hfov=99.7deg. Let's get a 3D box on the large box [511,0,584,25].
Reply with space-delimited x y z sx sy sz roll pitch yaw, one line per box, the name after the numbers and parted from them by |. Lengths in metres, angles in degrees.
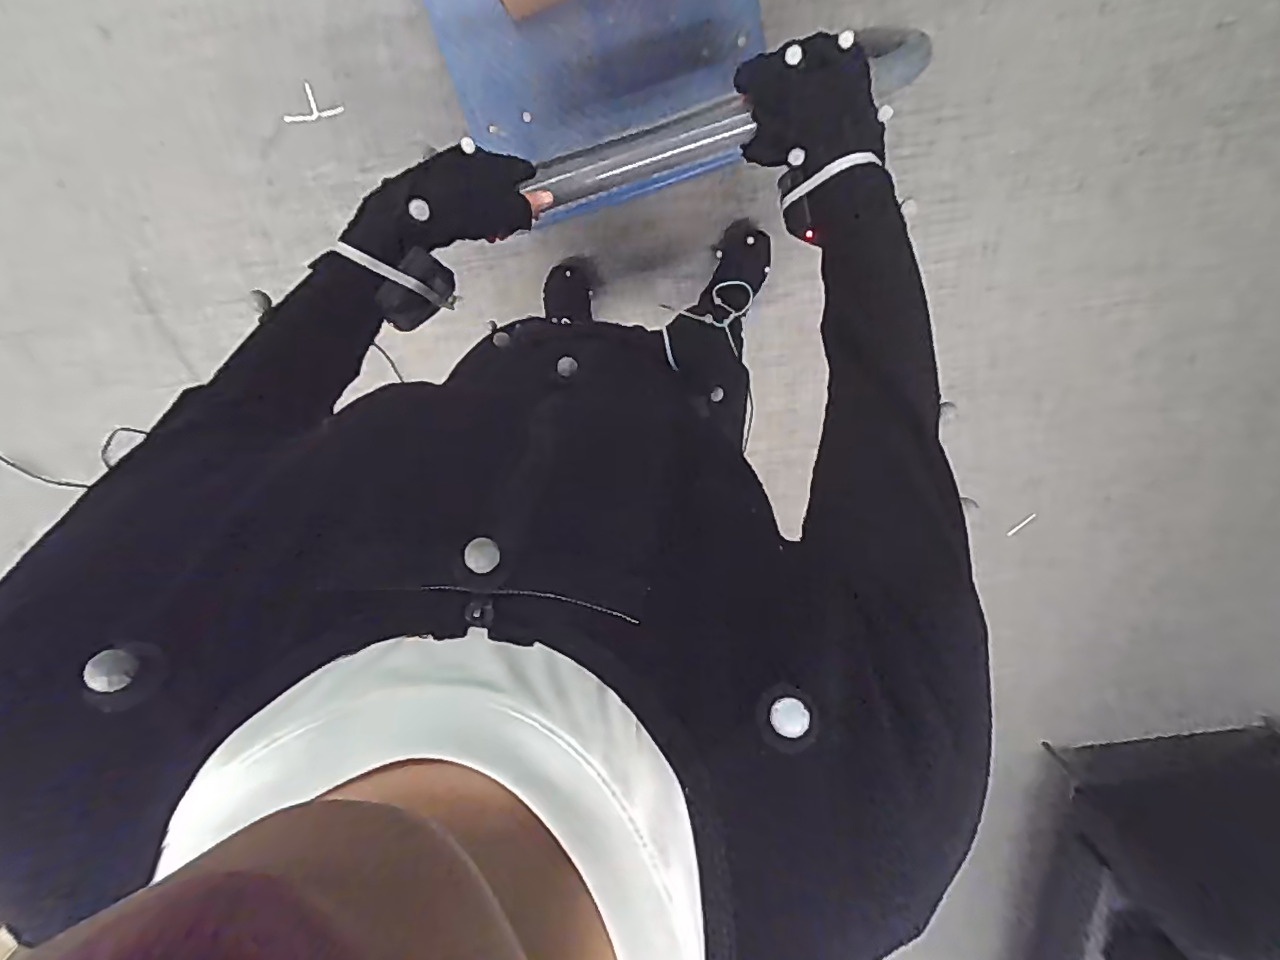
-0.074 -0.960 0.774 0.408 0.320 0.320 -18 113 8 | large box
